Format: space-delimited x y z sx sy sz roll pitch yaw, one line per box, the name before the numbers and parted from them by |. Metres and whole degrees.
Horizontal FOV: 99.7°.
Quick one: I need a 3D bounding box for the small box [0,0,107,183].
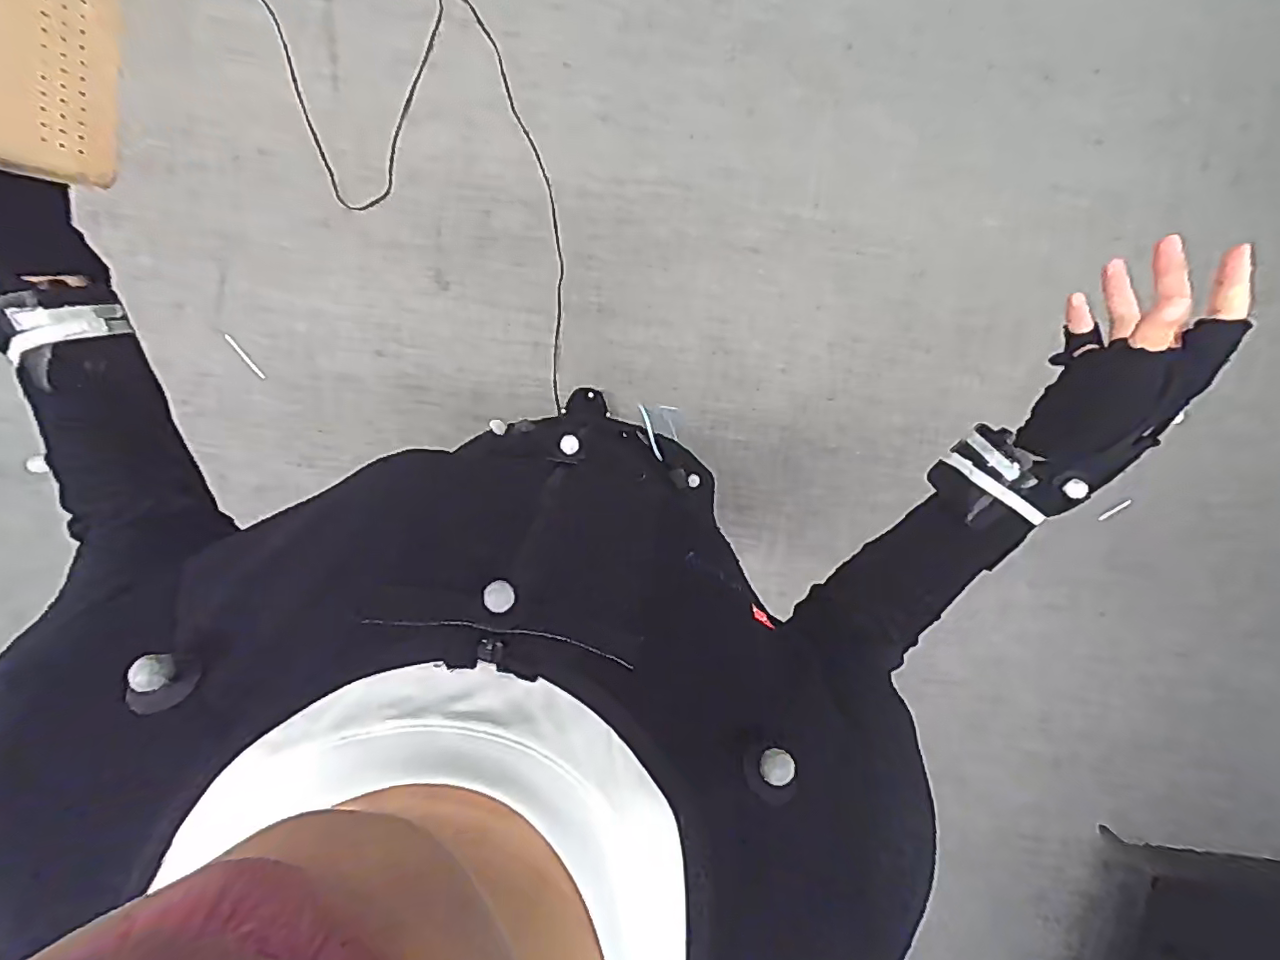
small box | -0.342 -0.244 0.202 0.168 0.176 0.179 19 103 21
